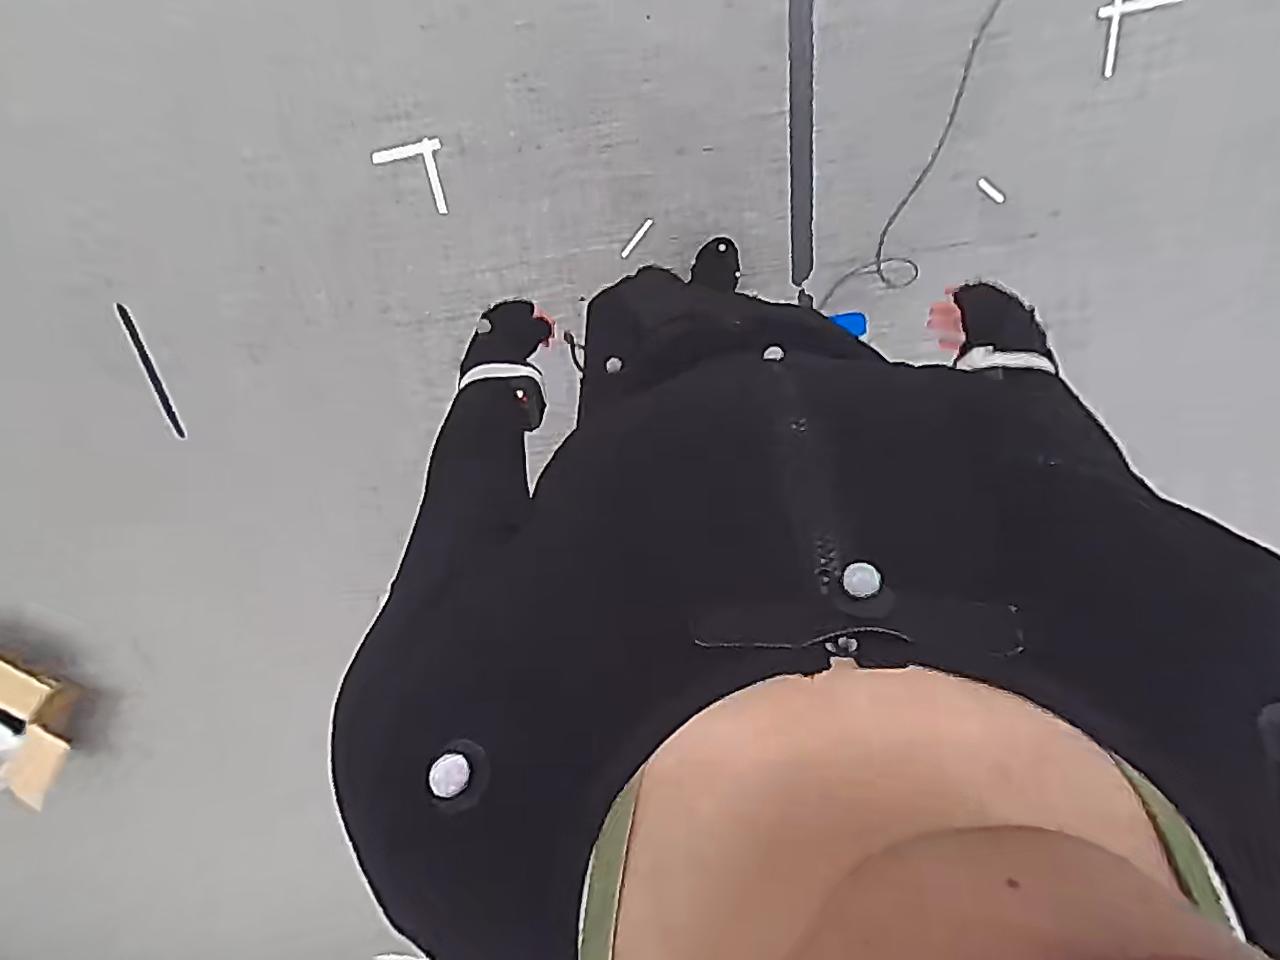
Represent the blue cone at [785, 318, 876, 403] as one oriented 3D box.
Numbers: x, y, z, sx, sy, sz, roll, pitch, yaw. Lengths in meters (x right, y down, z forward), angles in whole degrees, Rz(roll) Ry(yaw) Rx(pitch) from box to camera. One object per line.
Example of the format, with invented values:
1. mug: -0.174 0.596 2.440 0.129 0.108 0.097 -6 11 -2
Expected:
1. blue cone: 0.441 -0.236 1.180 0.193 0.380 0.192 -6 110 8
